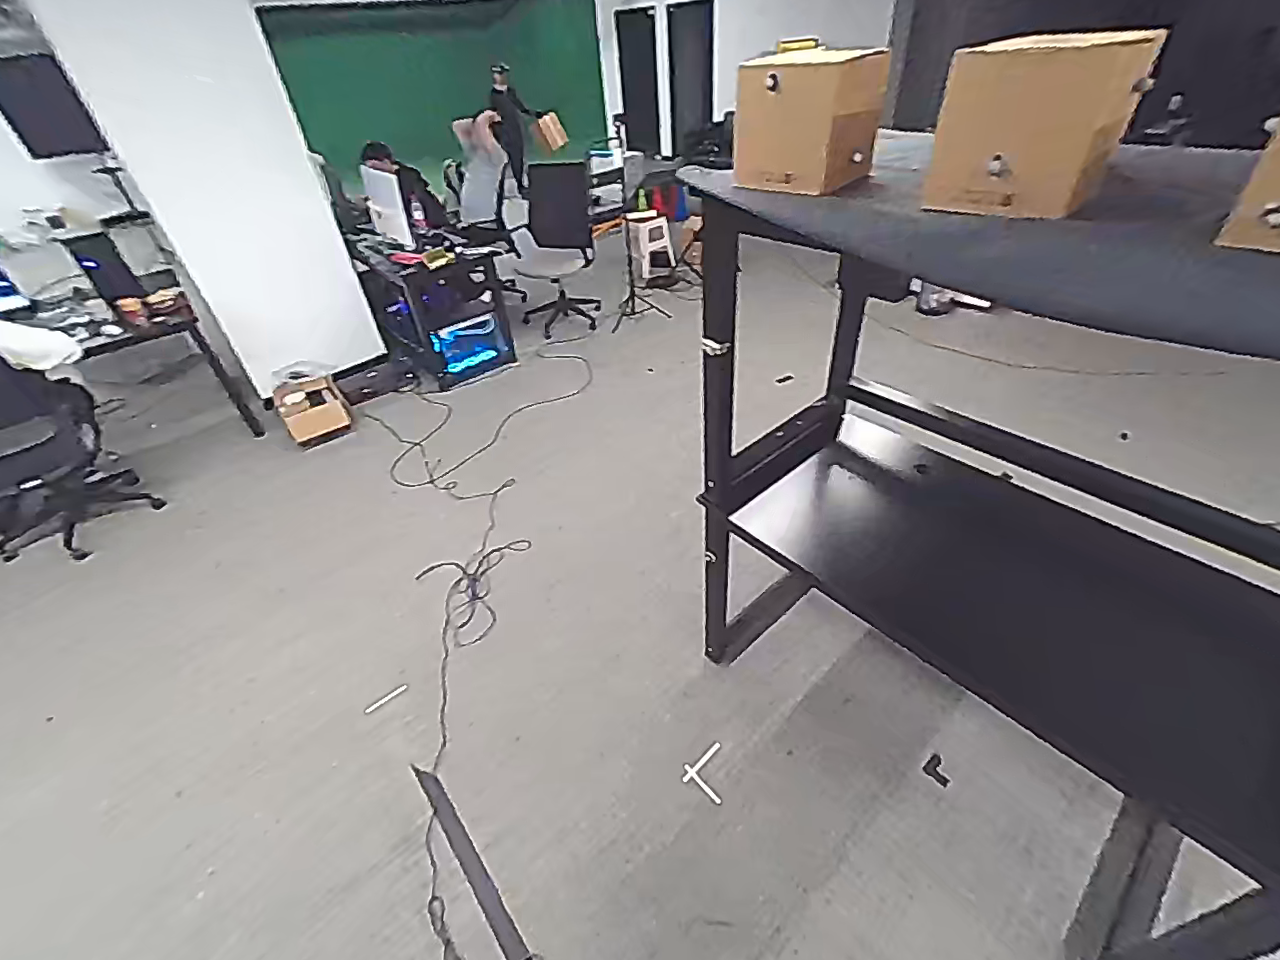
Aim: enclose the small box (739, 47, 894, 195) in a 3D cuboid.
[{"bbox_3d":[0.267,-0.567,0.851,0.168,0.176,0.179,28,50,33],"label":"small box"}]
